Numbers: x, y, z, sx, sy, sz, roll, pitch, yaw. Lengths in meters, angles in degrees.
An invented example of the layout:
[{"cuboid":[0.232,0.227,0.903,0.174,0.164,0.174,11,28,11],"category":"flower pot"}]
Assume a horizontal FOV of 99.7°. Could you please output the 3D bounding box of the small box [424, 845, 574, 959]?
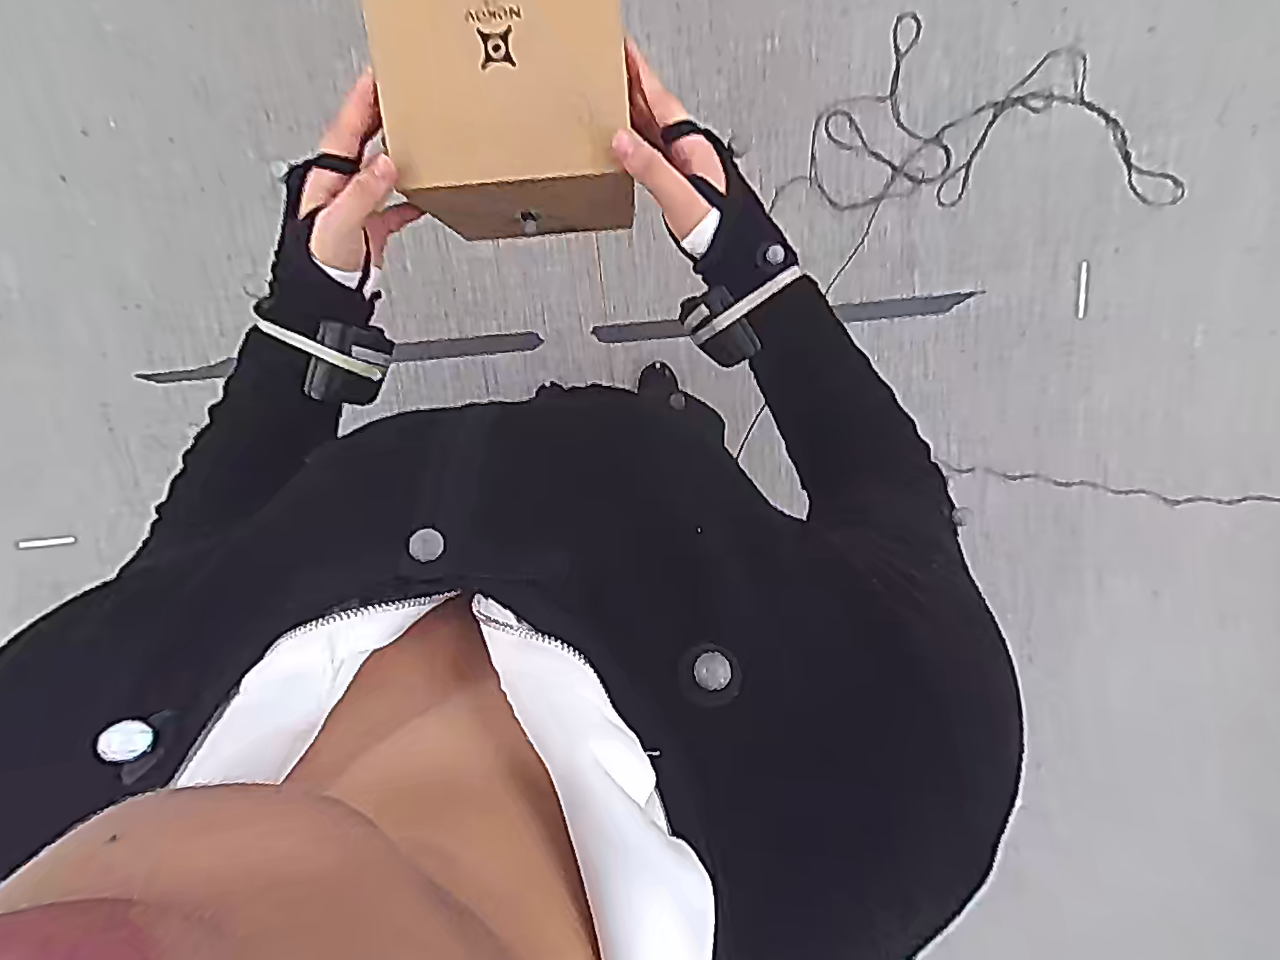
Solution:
[{"cuboid":[-0.198,0.682,0.797,0.179,0.176,0.168,-11,101,0],"category":"small box"}]
